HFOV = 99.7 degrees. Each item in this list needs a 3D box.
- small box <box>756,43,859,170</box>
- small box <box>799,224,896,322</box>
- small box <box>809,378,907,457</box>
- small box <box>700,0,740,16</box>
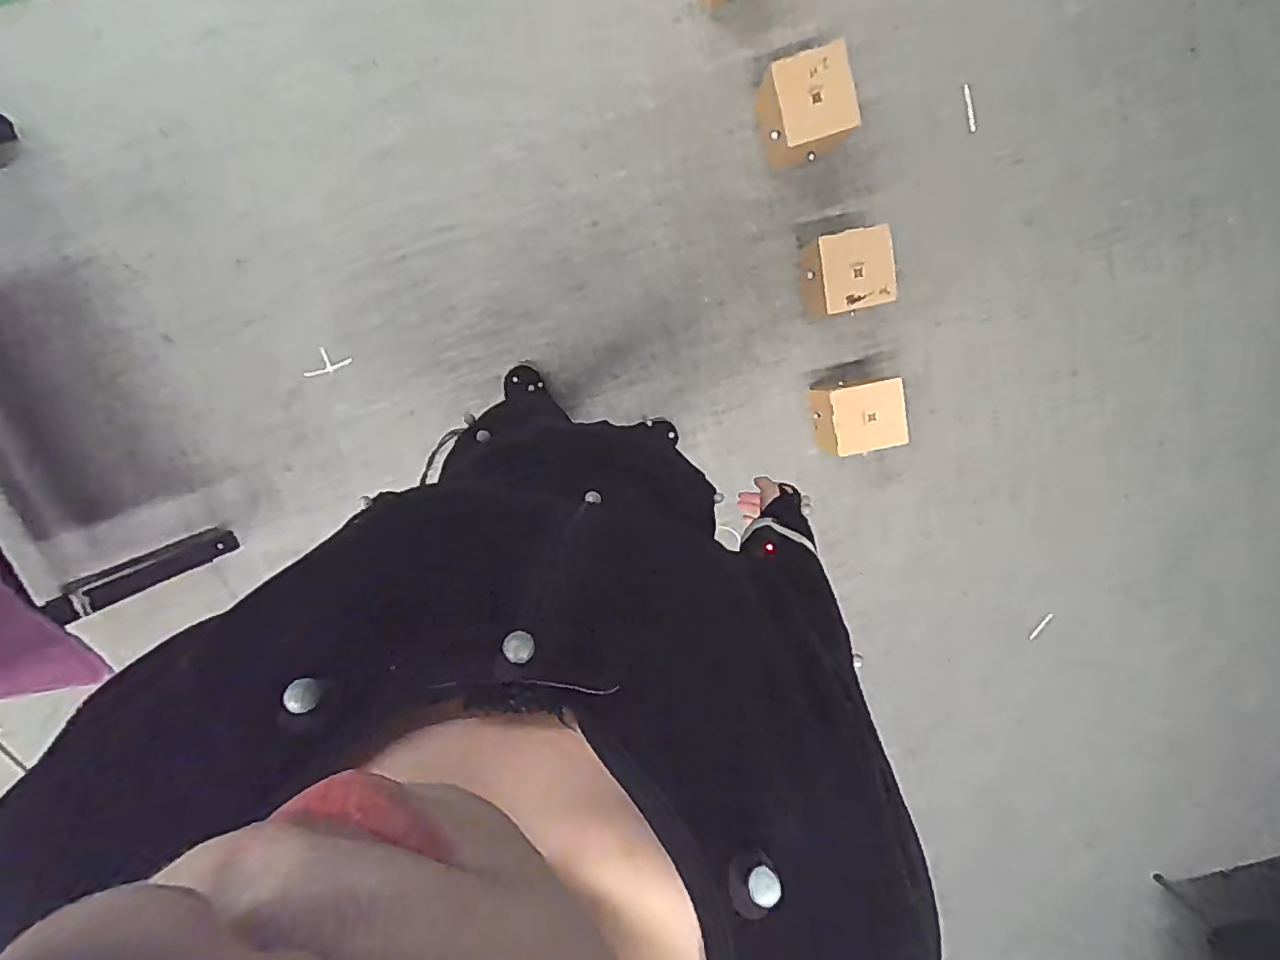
[{"bbox_3d":[0.380,-0.845,1.249,0.168,0.176,0.179,-16,101,2],"label":"small box"},{"bbox_3d":[0.498,-0.497,1.317,0.168,0.176,0.179,-11,100,2],"label":"small box"},{"bbox_3d":[0.553,-0.166,1.384,0.179,0.176,0.168,-11,101,3],"label":"small box"},{"bbox_3d":[0.192,-1.190,1.182,0.168,0.176,0.179,-28,100,5],"label":"small box"}]
